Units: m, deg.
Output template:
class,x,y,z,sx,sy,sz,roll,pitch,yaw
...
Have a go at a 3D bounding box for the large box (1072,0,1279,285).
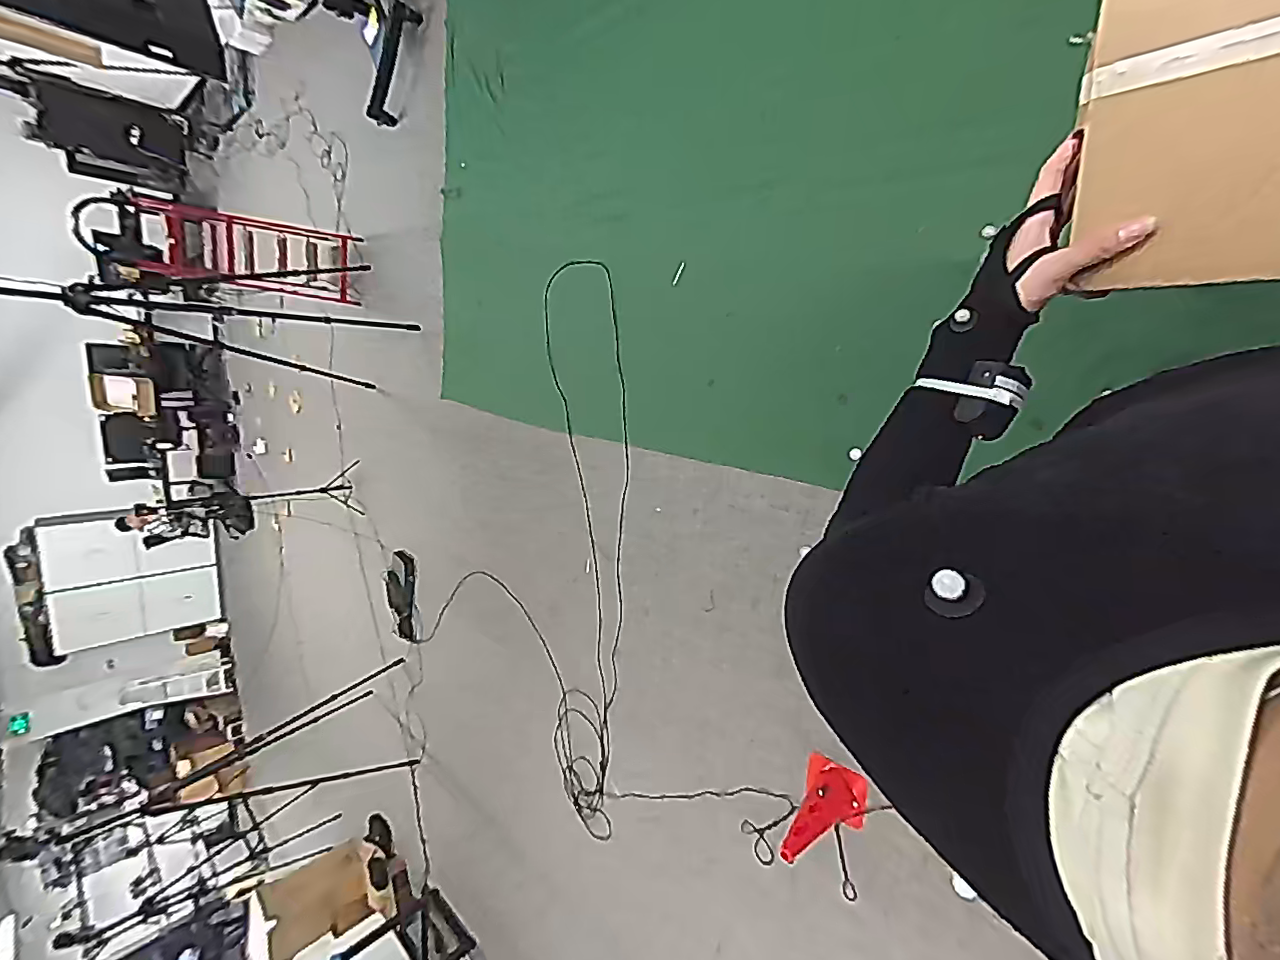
class,x,y,z,sx,sy,sz,roll,pitch,yaw
large box,0.606,-0.334,0.396,0.408,0.320,0.320,12,116,43
